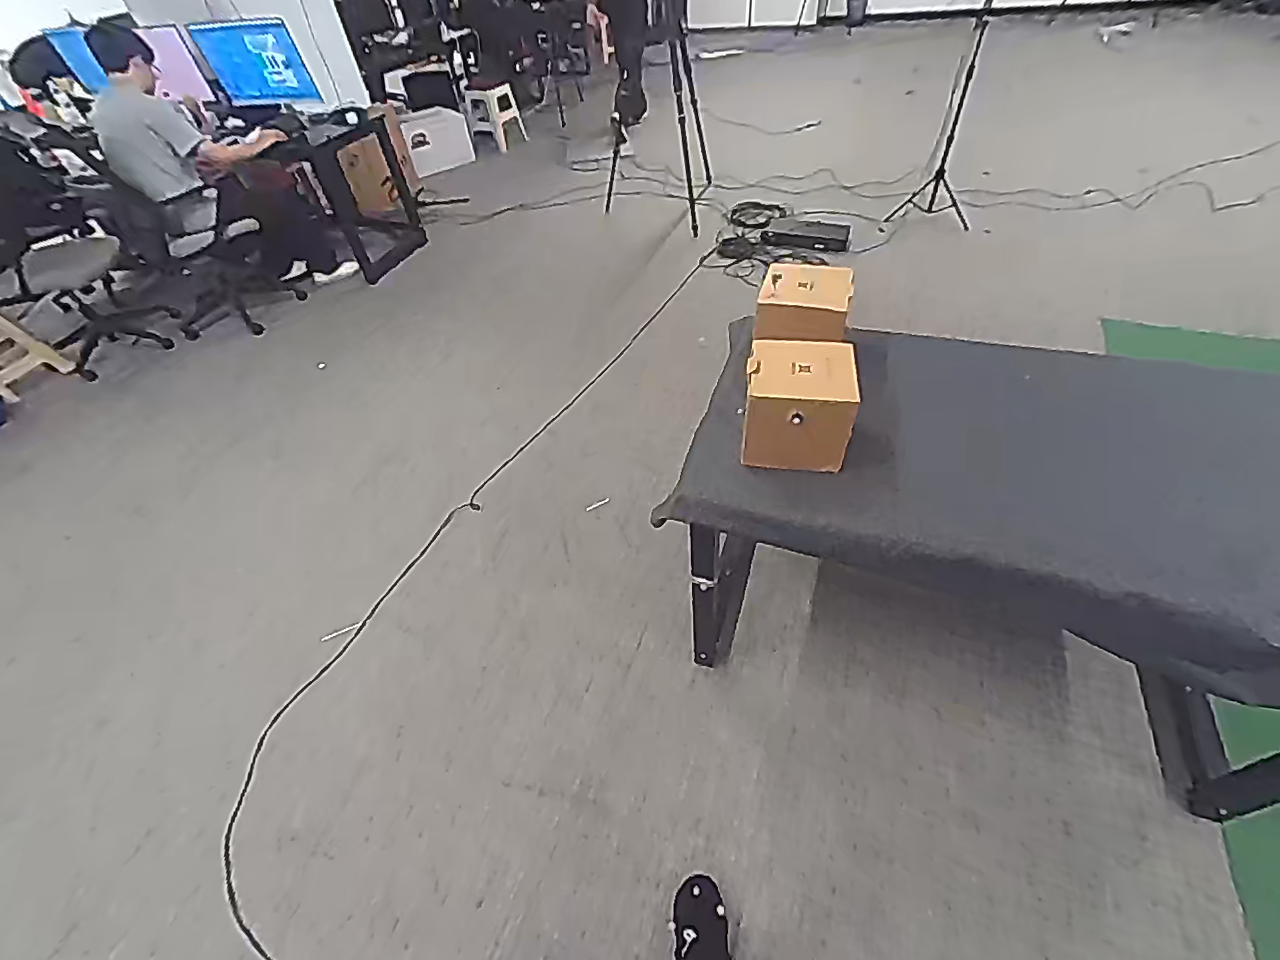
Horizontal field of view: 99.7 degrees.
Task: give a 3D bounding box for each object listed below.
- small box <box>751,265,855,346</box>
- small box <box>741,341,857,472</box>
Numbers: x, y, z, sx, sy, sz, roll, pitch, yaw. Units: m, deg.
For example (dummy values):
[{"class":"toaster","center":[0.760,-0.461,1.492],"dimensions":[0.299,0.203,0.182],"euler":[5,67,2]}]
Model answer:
[{"class":"small box","center":[0.344,-0.335,1.160],"dimensions":[0.179,0.176,0.168],"euler":[13,51,16]},{"class":"small box","center":[0.280,-0.132,0.982],"dimensions":[0.179,0.176,0.168],"euler":[6,49,9]}]
